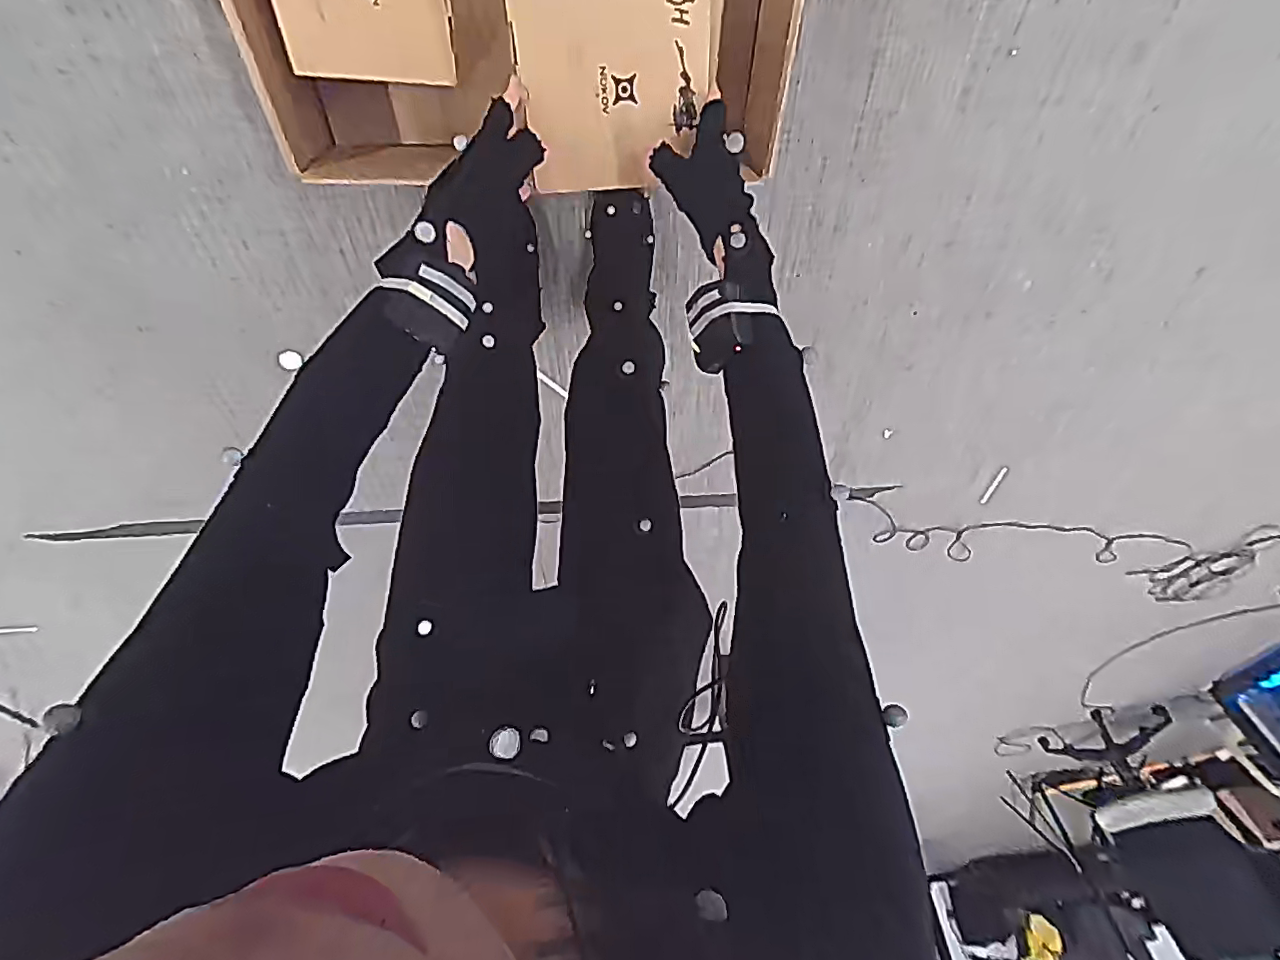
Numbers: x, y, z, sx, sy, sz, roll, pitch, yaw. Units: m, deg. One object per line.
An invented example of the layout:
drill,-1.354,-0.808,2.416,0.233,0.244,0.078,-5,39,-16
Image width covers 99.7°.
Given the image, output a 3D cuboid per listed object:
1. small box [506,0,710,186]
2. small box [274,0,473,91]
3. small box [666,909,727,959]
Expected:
small box,-0.027,-0.416,0.558,0.179,0.176,0.168,-5,131,0
small box,-0.286,-0.549,0.594,0.179,0.176,0.168,-1,135,-6
small box,0.170,1.402,1.617,0.168,0.176,0.179,-6,134,0
